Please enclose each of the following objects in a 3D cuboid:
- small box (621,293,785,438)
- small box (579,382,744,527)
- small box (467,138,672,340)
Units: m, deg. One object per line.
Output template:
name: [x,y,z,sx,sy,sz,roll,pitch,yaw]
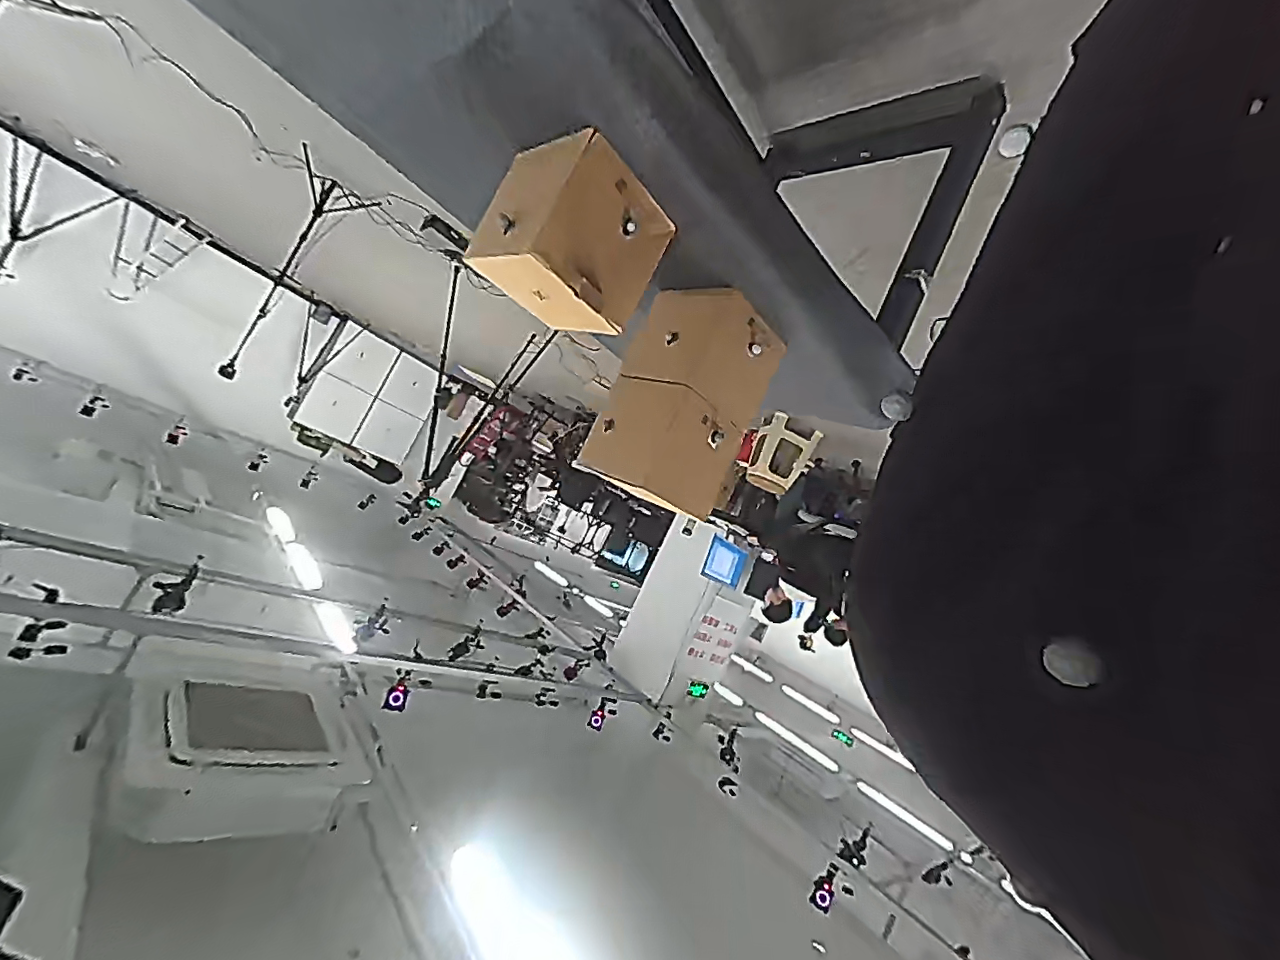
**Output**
small box: [0.107,-0.193,0.901,0.168,0.176,0.179,30,173,-41]
small box: [0.038,-0.047,0.885,0.168,0.176,0.179,29,173,-41]
small box: [-0.089,-0.309,0.716,0.179,0.176,0.168,20,172,45]
